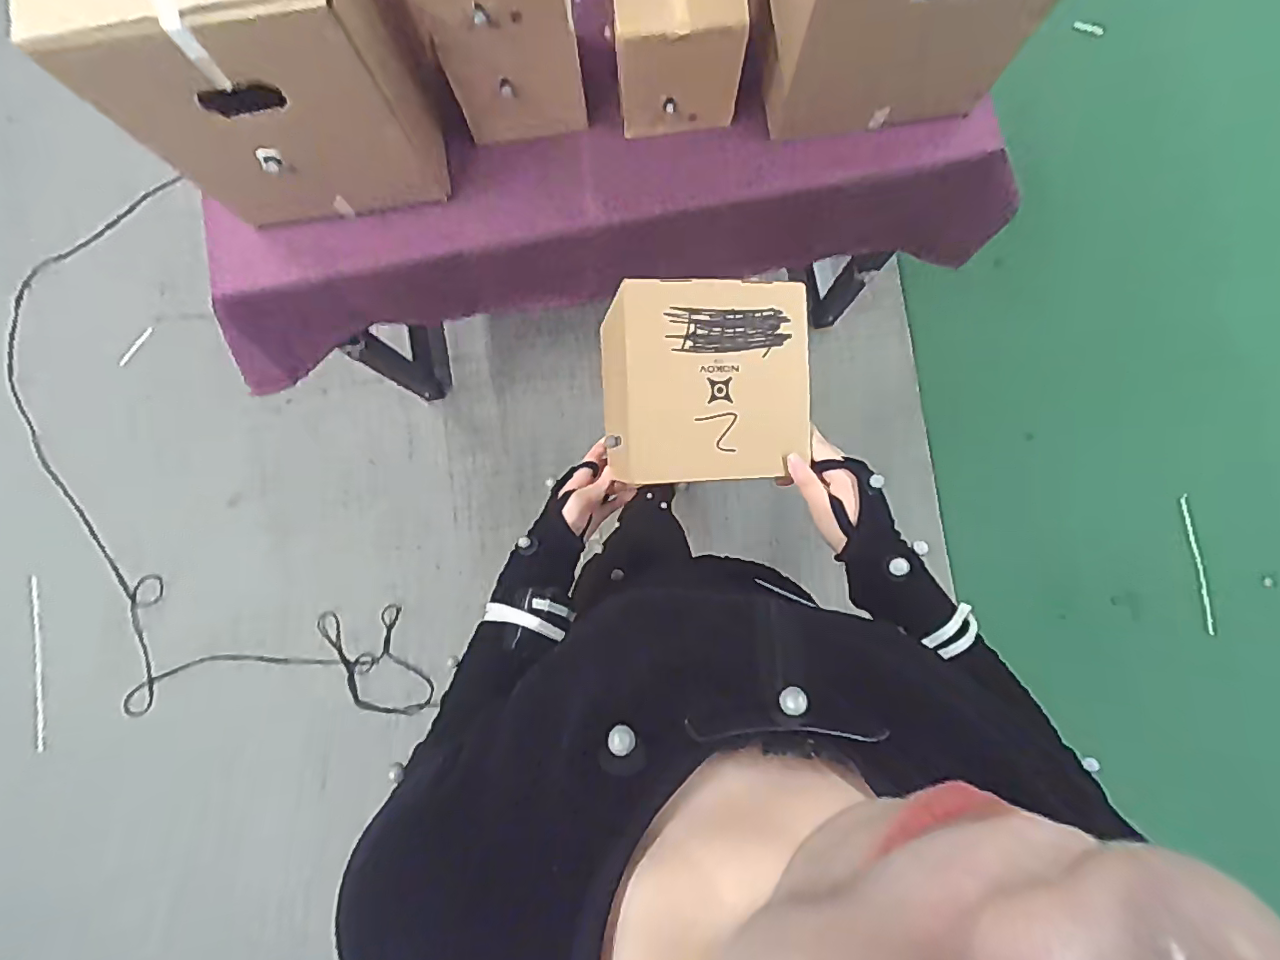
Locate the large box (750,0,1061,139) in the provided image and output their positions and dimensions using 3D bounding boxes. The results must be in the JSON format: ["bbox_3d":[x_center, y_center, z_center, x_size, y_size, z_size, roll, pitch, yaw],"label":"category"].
[{"bbox_3d":[0.326,-0.743,0.693,0.320,0.320,0.408,-8,85,0],"label":"large box"}]
